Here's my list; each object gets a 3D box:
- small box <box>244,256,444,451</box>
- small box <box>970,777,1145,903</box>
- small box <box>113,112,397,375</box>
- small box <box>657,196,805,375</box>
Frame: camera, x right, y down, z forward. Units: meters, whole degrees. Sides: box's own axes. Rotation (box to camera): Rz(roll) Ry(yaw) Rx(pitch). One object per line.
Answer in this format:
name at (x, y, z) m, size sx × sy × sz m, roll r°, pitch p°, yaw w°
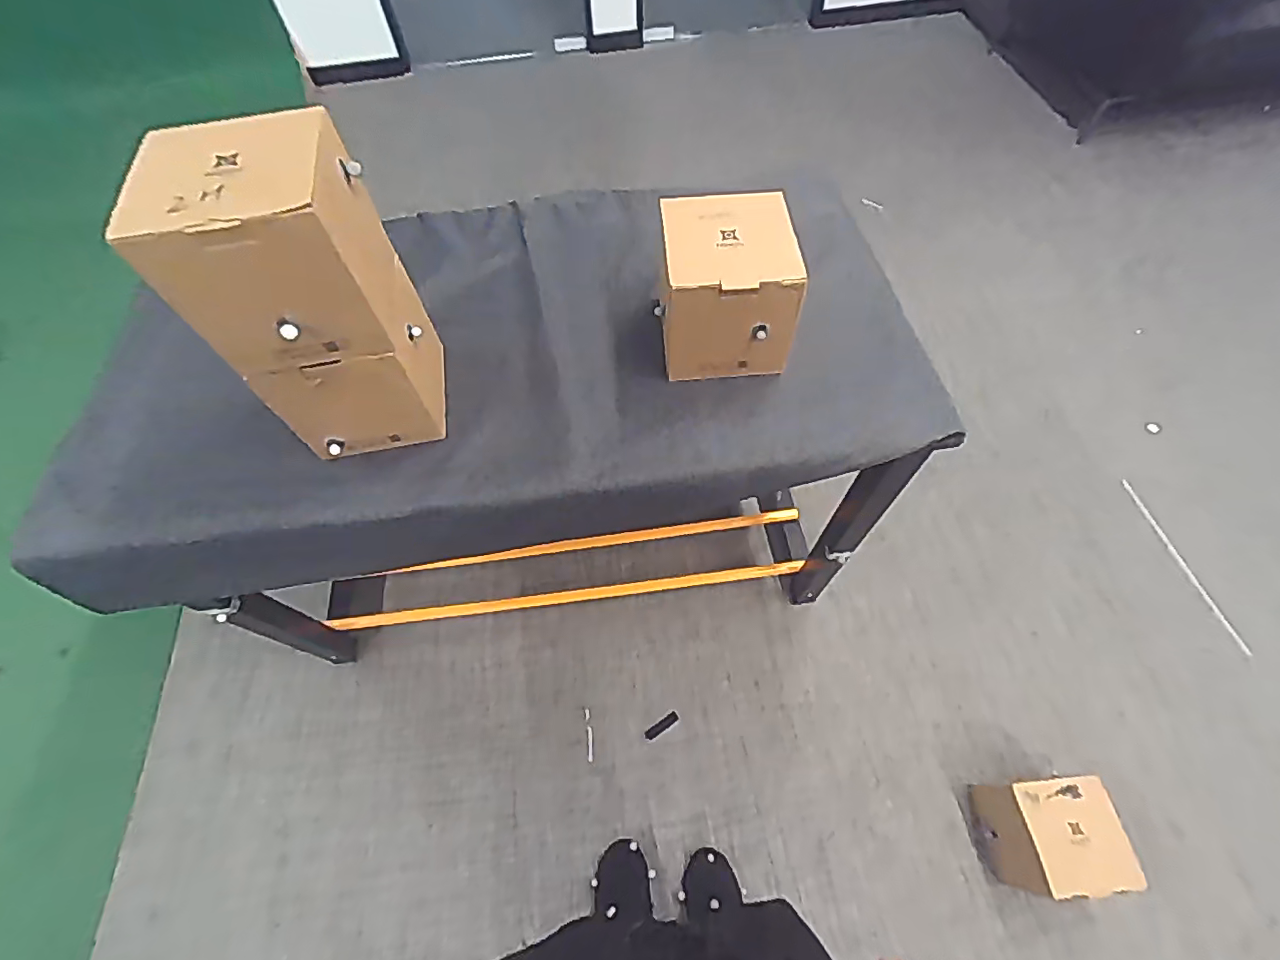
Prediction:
small box at (-0.362, -0.153, 0.699) m, size 0.168 × 0.176 × 0.179 m, roll -11°, pitch 59°, yaw -5°
small box at (0.768, 0.667, 1.020) m, size 0.168 × 0.176 × 0.179 m, roll -5°, pitch 61°, yaw -1°
small box at (-0.367, -0.238, 0.558) m, size 0.168 × 0.176 × 0.179 m, roll -13°, pitch 60°, yaw -5°
small box at (0.112, -0.258, 0.745) m, size 0.168 × 0.176 × 0.179 m, roll -4°, pitch 59°, yaw -1°
